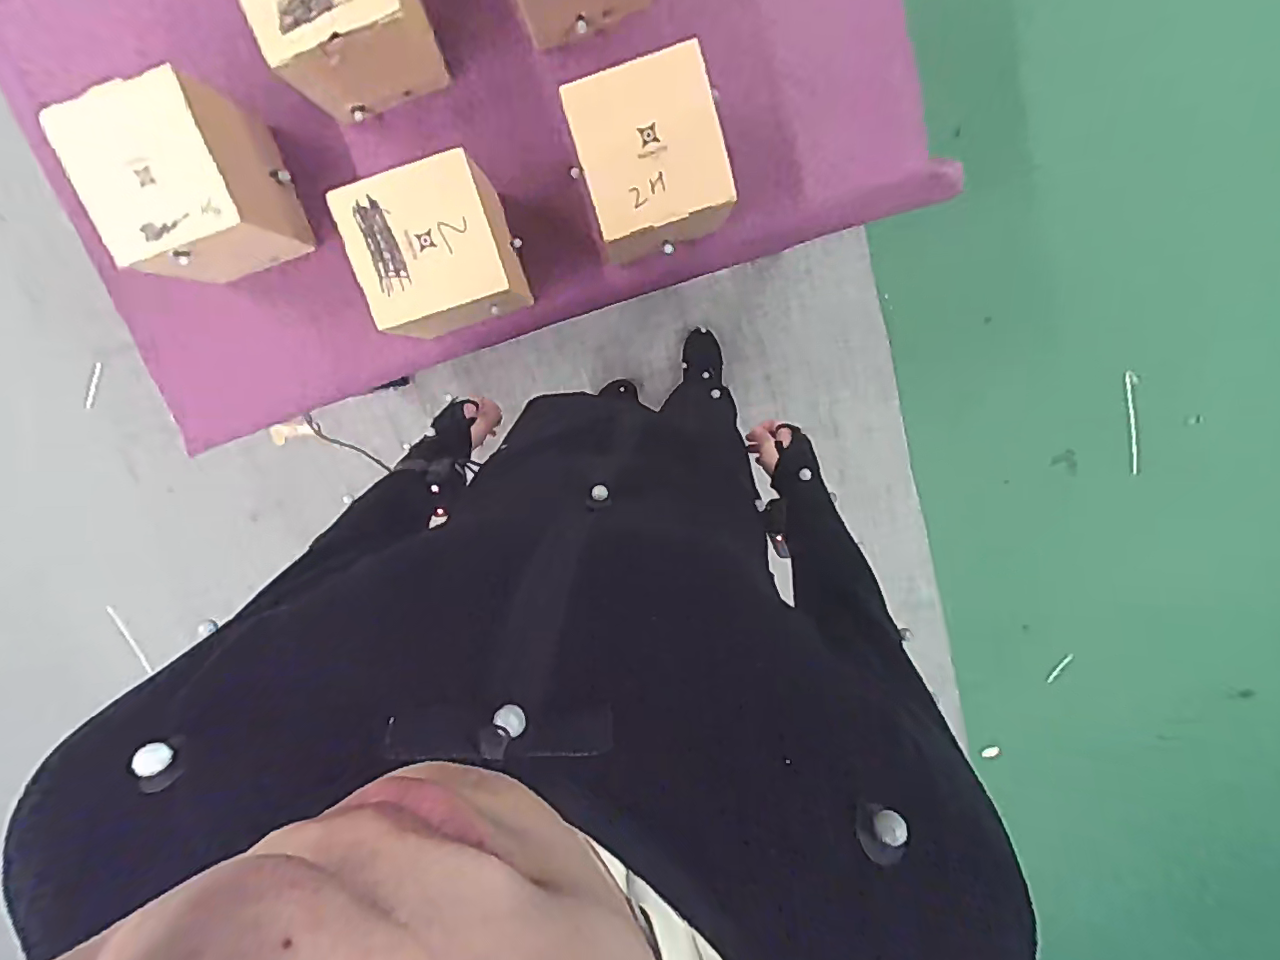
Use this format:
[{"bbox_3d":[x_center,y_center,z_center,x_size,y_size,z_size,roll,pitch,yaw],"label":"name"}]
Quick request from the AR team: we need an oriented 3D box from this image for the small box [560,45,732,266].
[{"bbox_3d":[0.007,-0.403,0.704,0.168,0.176,0.179,-17,102,3],"label":"small box"}]

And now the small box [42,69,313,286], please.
[{"bbox_3d":[-0.575,-0.372,0.701,0.168,0.176,0.179,-17,102,4],"label":"small box"}]

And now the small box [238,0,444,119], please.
[{"bbox_3d":[-0.367,-0.579,0.660,0.168,0.176,0.179,-19,102,3],"label":"small box"}]

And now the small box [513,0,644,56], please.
[{"bbox_3d":[-0.097,-0.668,0.645,0.168,0.176,0.179,-20,103,4],"label":"small box"}]
